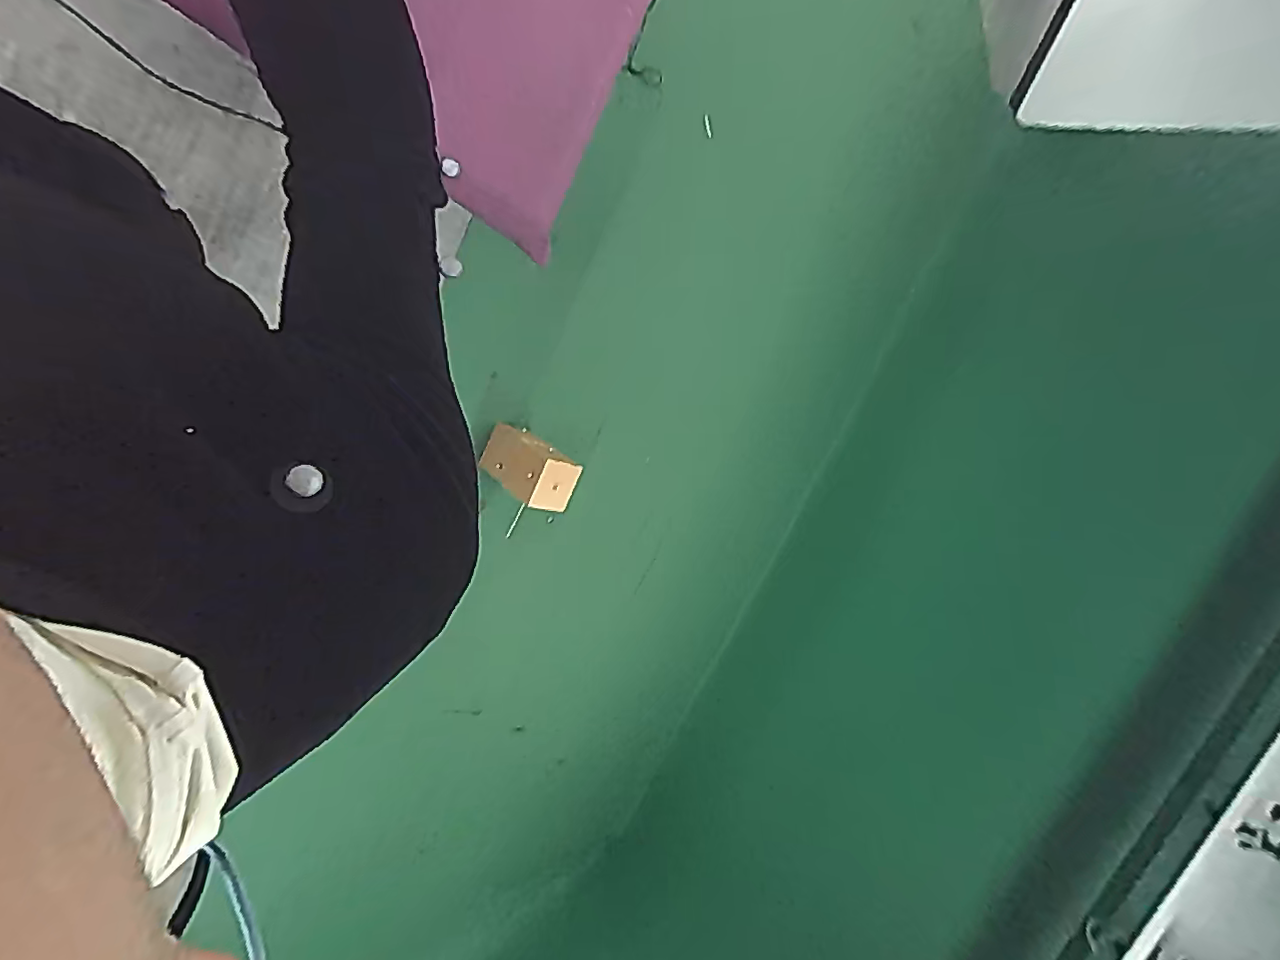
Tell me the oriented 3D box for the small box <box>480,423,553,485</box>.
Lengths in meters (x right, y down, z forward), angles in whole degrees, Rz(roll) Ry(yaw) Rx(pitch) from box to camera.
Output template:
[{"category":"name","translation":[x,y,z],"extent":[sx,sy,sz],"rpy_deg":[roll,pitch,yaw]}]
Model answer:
[{"category":"small box","translation":[-0.453,-0.082,1.962],"extent":[0.168,0.176,0.179],"rpy_deg":[18,100,-51]}]

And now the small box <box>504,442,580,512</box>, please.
[{"category":"small box","translation":[-0.345,-0.010,1.865],"extent":[0.168,0.176,0.179],"rpy_deg":[14,102,-51]}]
